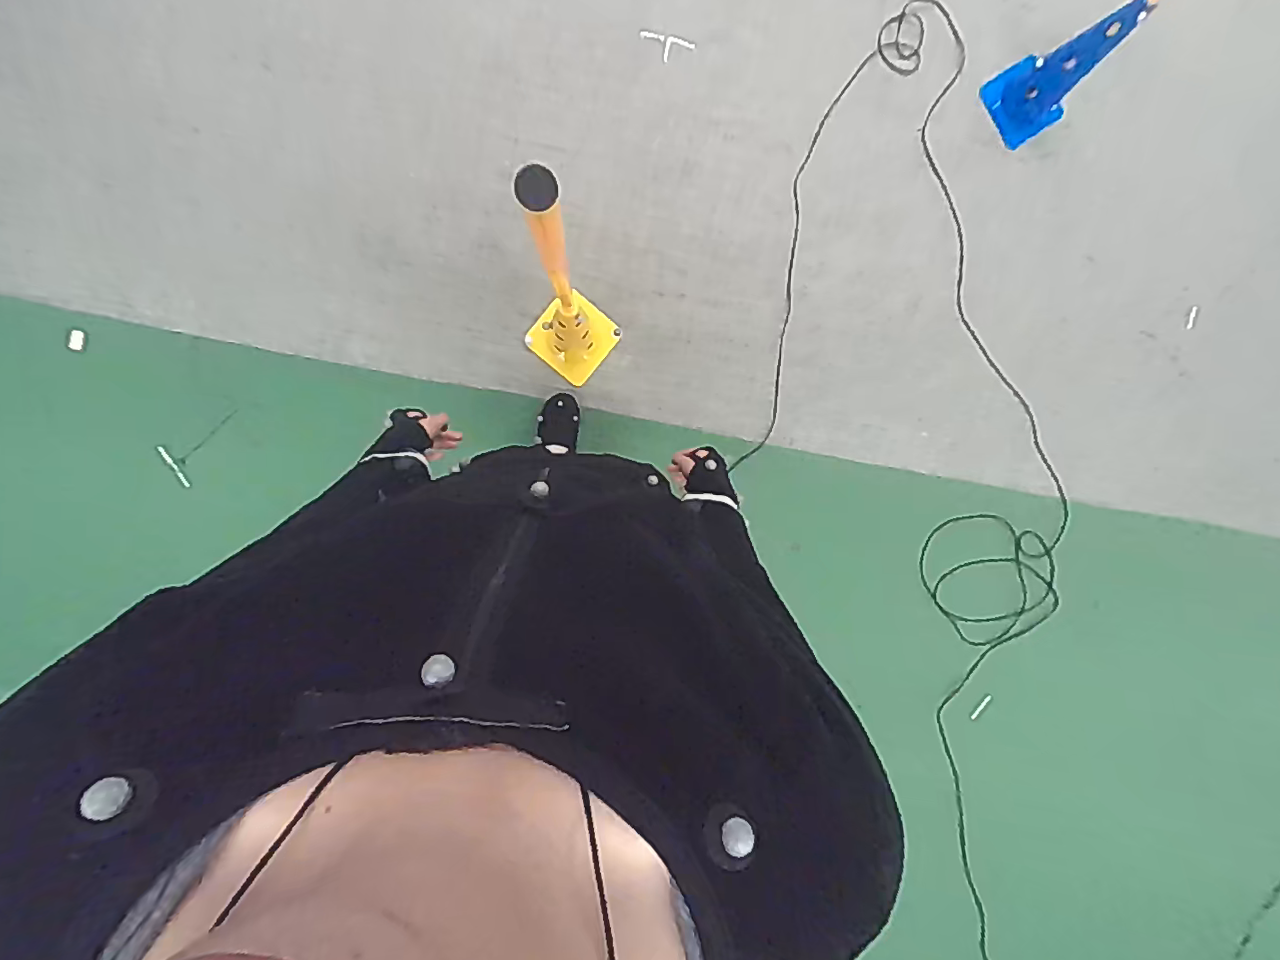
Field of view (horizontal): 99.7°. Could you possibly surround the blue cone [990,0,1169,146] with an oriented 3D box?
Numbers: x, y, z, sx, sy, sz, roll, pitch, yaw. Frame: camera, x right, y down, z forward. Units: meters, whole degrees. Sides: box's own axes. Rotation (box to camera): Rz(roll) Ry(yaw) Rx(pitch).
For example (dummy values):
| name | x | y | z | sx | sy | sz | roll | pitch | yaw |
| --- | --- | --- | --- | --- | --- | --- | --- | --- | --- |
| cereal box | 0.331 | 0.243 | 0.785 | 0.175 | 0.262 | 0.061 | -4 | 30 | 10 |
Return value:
| name | x | y | z | sx | sy | sz | roll | pitch | yaw |
| --- | --- | --- | --- | --- | --- | --- | --- | --- | --- |
| blue cone | 1.106 | -1.056 | 1.354 | 0.193 | 0.380 | 0.192 | -36 | 96 | -4 |
